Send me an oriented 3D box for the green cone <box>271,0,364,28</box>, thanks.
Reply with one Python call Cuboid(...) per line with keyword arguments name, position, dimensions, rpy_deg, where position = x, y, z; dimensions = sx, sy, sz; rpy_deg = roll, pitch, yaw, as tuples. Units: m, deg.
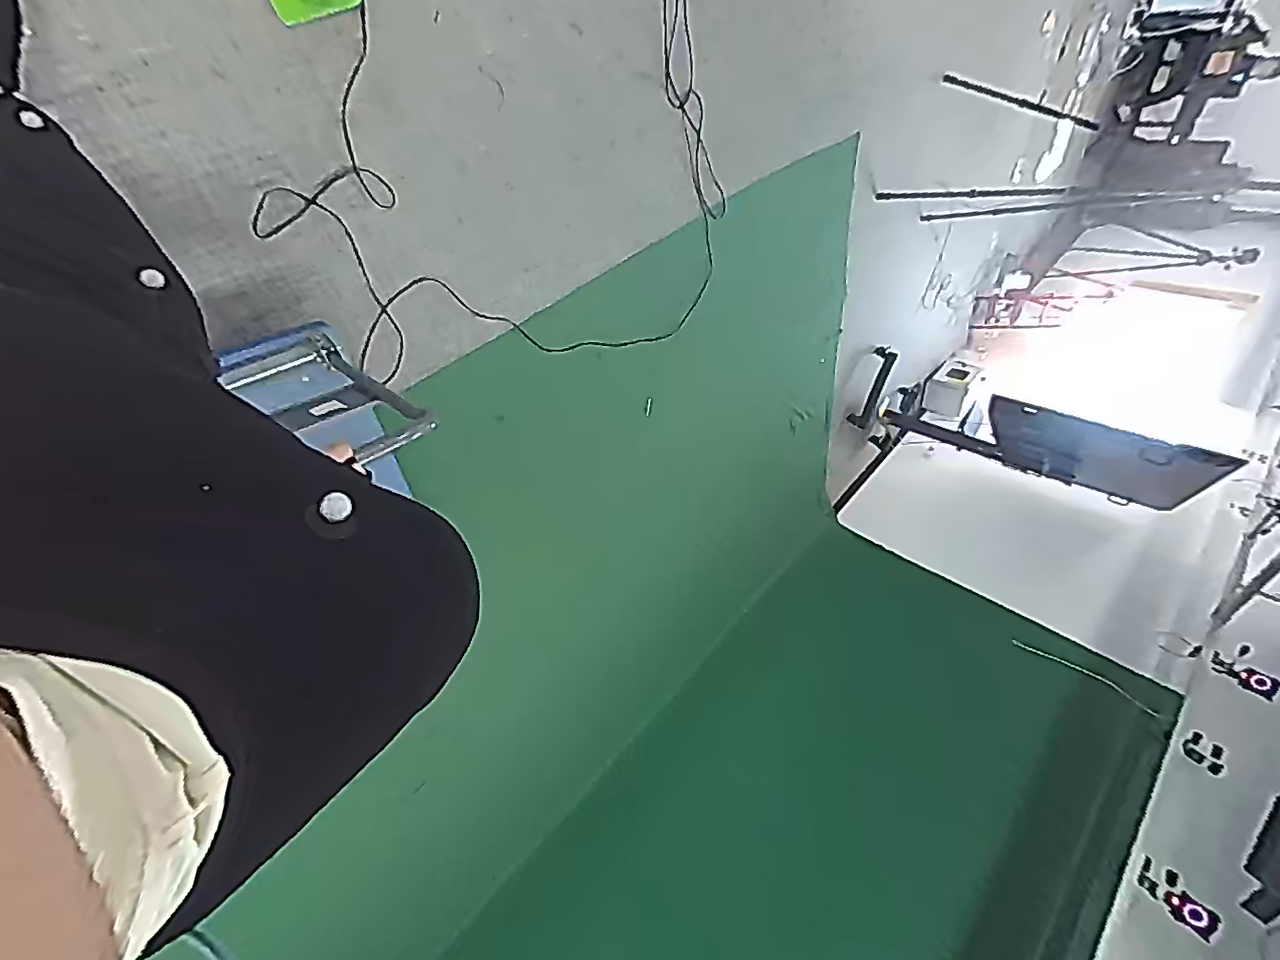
Cuboid(name="green cone", position=(-0.584, -1.017, 1.018), dimensions=(0.202, 0.368, 0.200), rpy_deg=(-44, 141, -23))
